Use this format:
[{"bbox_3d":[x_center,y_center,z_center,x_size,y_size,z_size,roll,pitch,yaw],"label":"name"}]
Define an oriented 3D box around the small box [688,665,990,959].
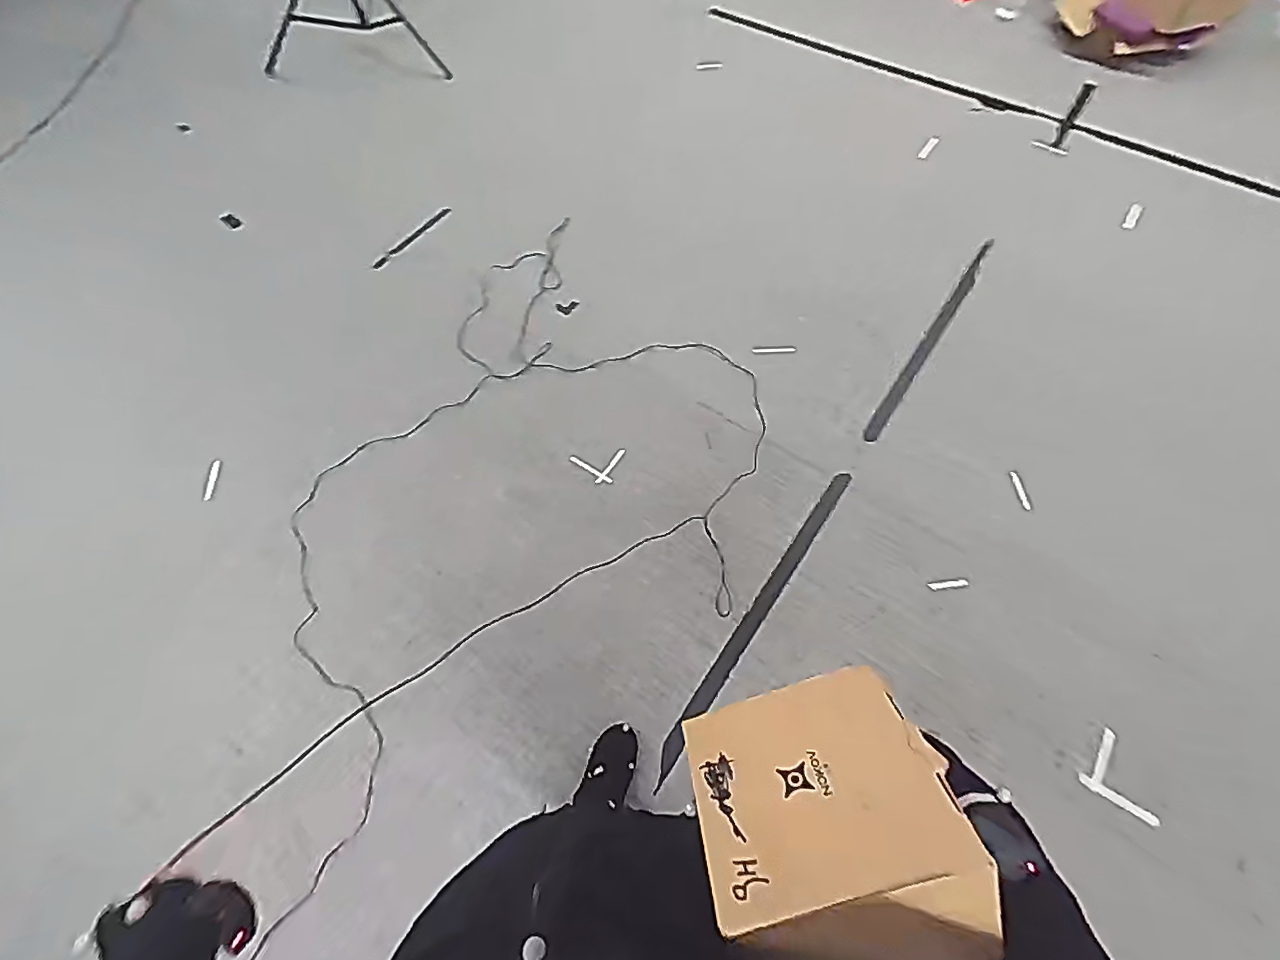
[{"bbox_3d":[0.158,0.295,0.452,0.179,0.176,0.168,-20,25,4],"label":"small box"}]
